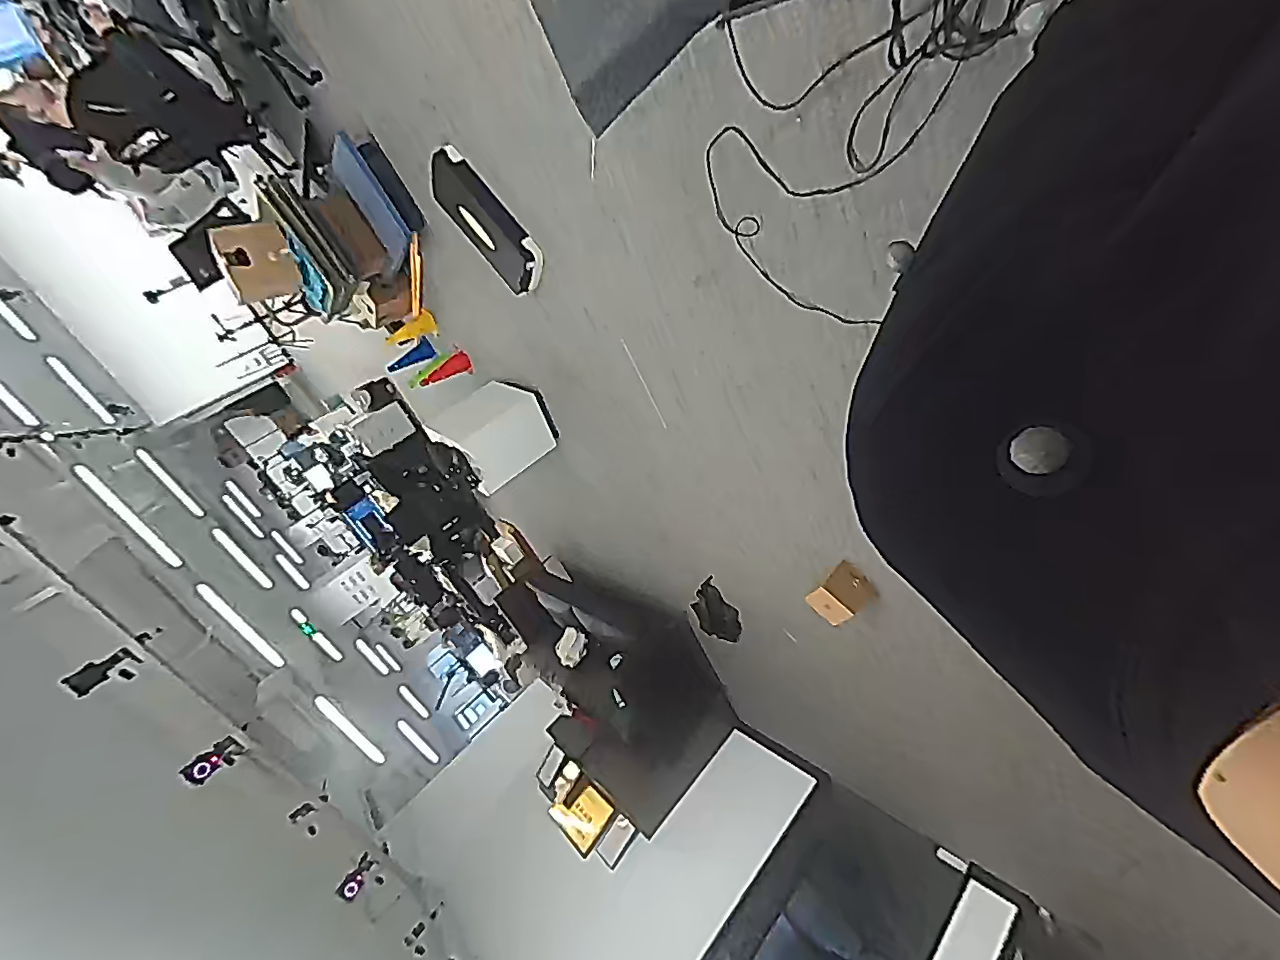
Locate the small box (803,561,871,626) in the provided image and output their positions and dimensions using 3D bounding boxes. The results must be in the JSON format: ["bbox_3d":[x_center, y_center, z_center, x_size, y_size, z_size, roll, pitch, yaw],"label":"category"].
[{"bbox_3d":[0.811,0.464,2.219,0.168,0.176,0.179,42,152,14],"label":"small box"}]
